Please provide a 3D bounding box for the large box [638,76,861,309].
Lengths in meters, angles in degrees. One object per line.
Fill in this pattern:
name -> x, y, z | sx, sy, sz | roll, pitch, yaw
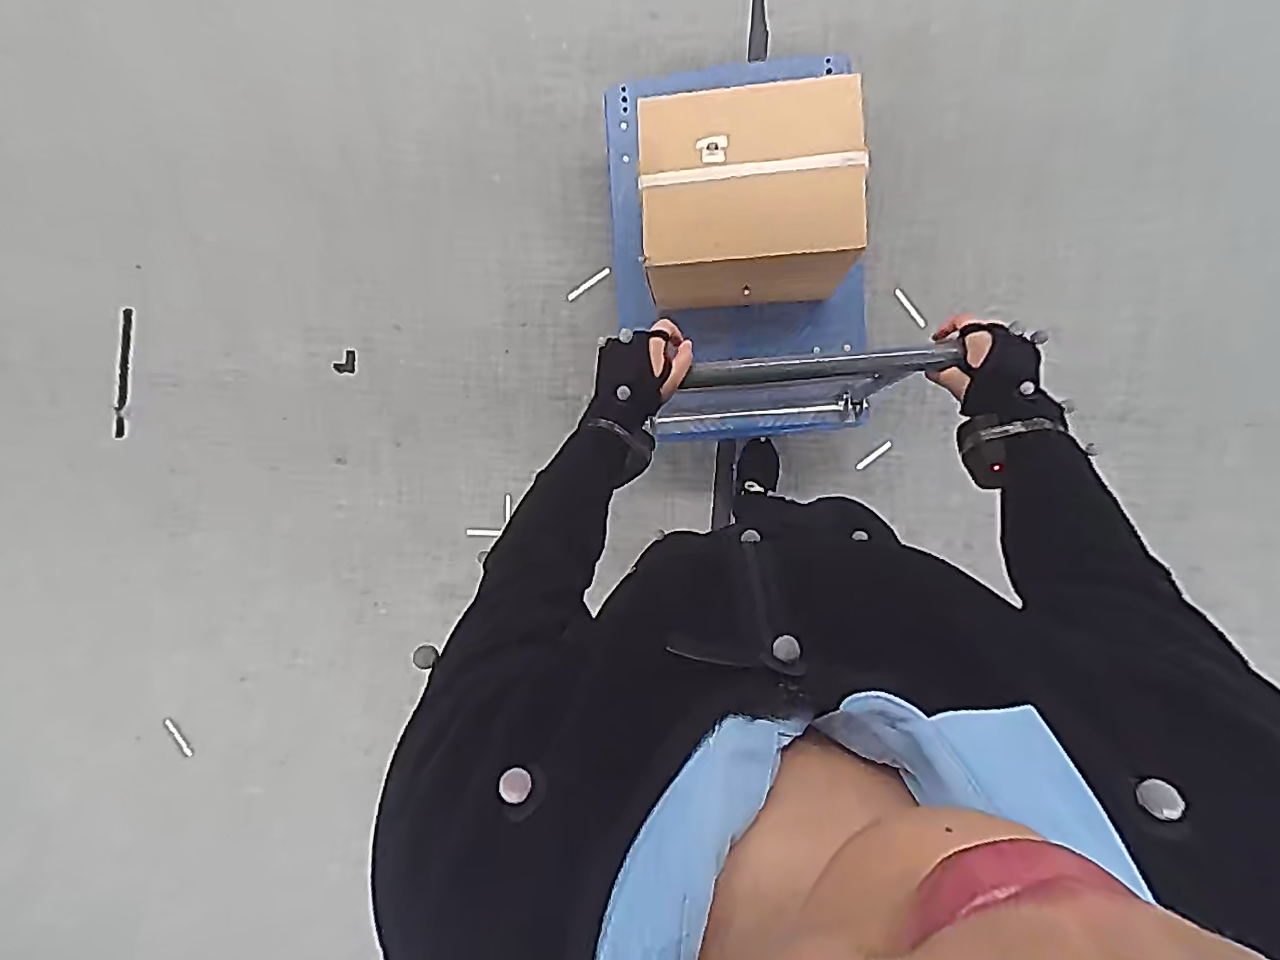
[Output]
large box -> 0.221, -0.577, 1.159 | 0.408, 0.320, 0.320 | -3, 90, 8
